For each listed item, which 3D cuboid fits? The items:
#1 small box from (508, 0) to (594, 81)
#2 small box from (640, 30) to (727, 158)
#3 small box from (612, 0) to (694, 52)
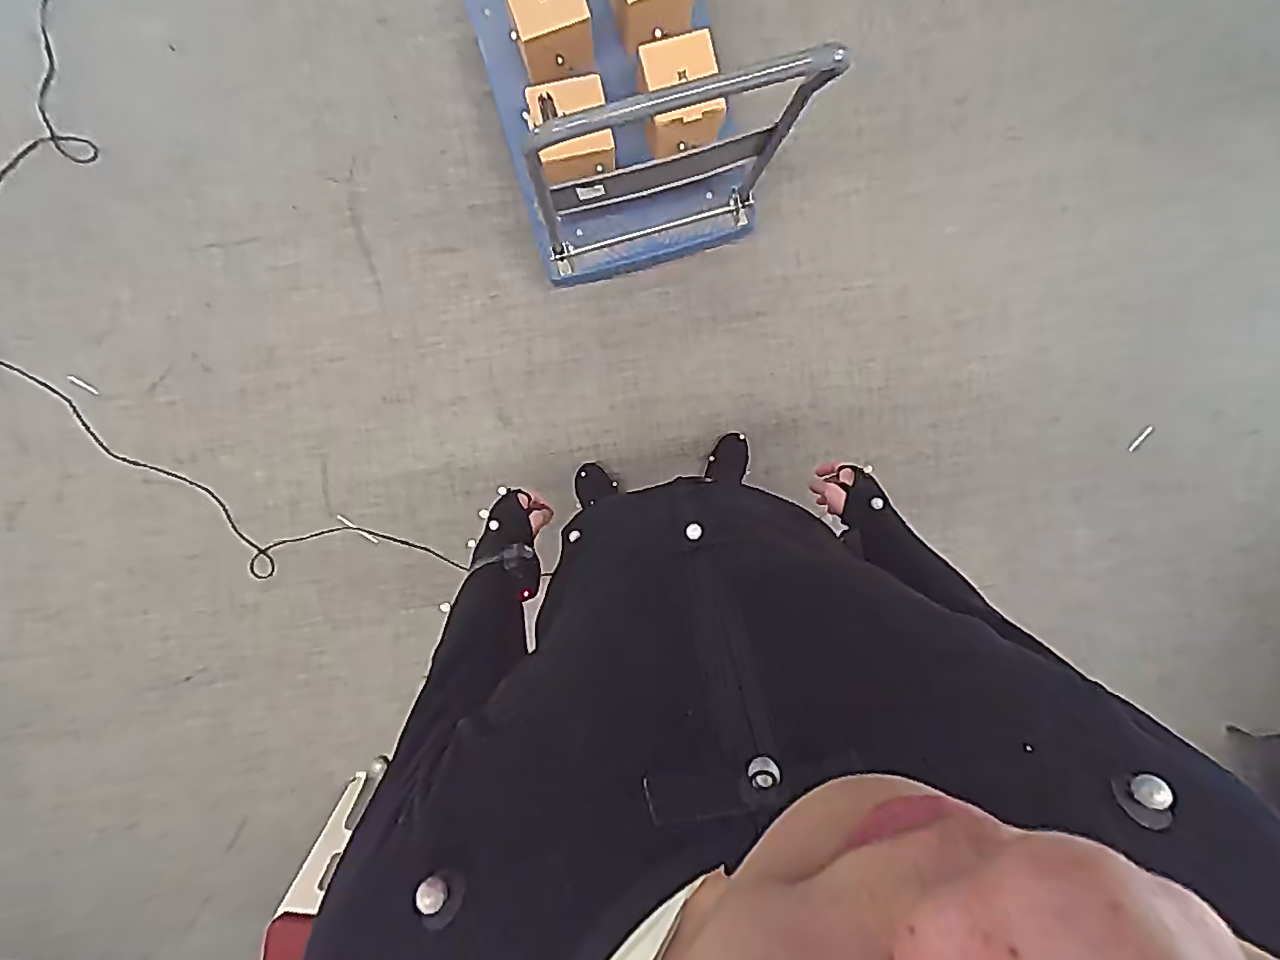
[{"bbox_3d":[-0.213,-1.101,1.291,0.168,0.176,0.179,-20,95,-1],"label":"small box"},{"bbox_3d":[0.098,-0.928,1.314,0.168,0.176,0.179,-15,95,0],"label":"small box"},{"bbox_3d":[0.023,-1.187,1.289,0.168,0.176,0.179,-19,96,1],"label":"small box"}]
